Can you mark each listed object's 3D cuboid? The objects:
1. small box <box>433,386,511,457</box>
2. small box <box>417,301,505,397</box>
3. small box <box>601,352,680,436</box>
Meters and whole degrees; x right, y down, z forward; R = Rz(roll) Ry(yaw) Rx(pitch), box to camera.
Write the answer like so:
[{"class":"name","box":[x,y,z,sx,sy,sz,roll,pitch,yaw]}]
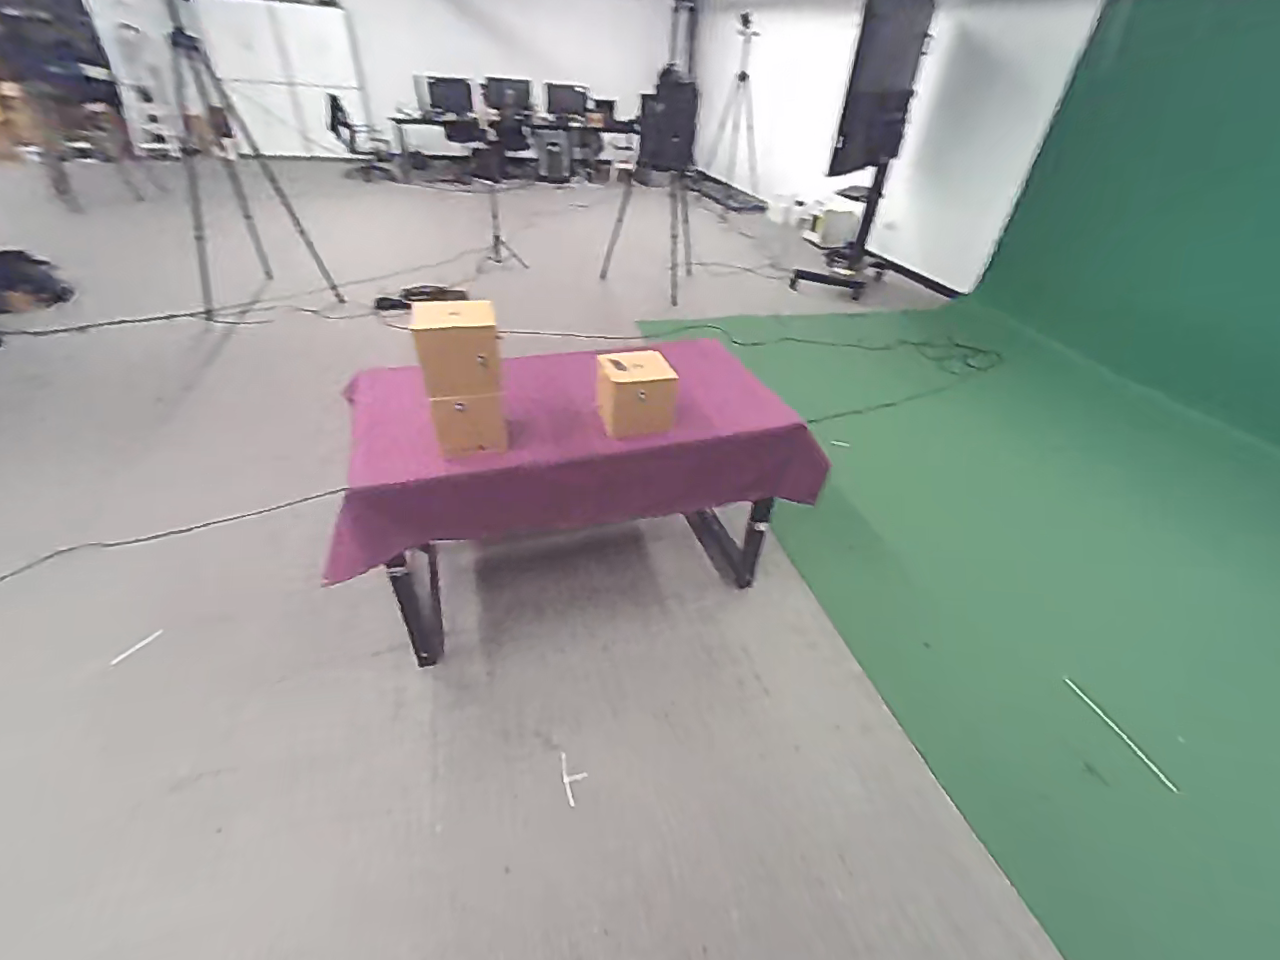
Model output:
[{"class":"small box","box":[-0.422,-0.176,1.363,0.168,0.176,0.179,-8,39,-14]},{"class":"small box","box":[-0.411,-0.306,1.263,0.179,0.176,0.168,-7,39,-14]},{"class":"small box","box":[-0.004,-0.233,1.477,0.179,0.176,0.168,-8,39,-16]}]
